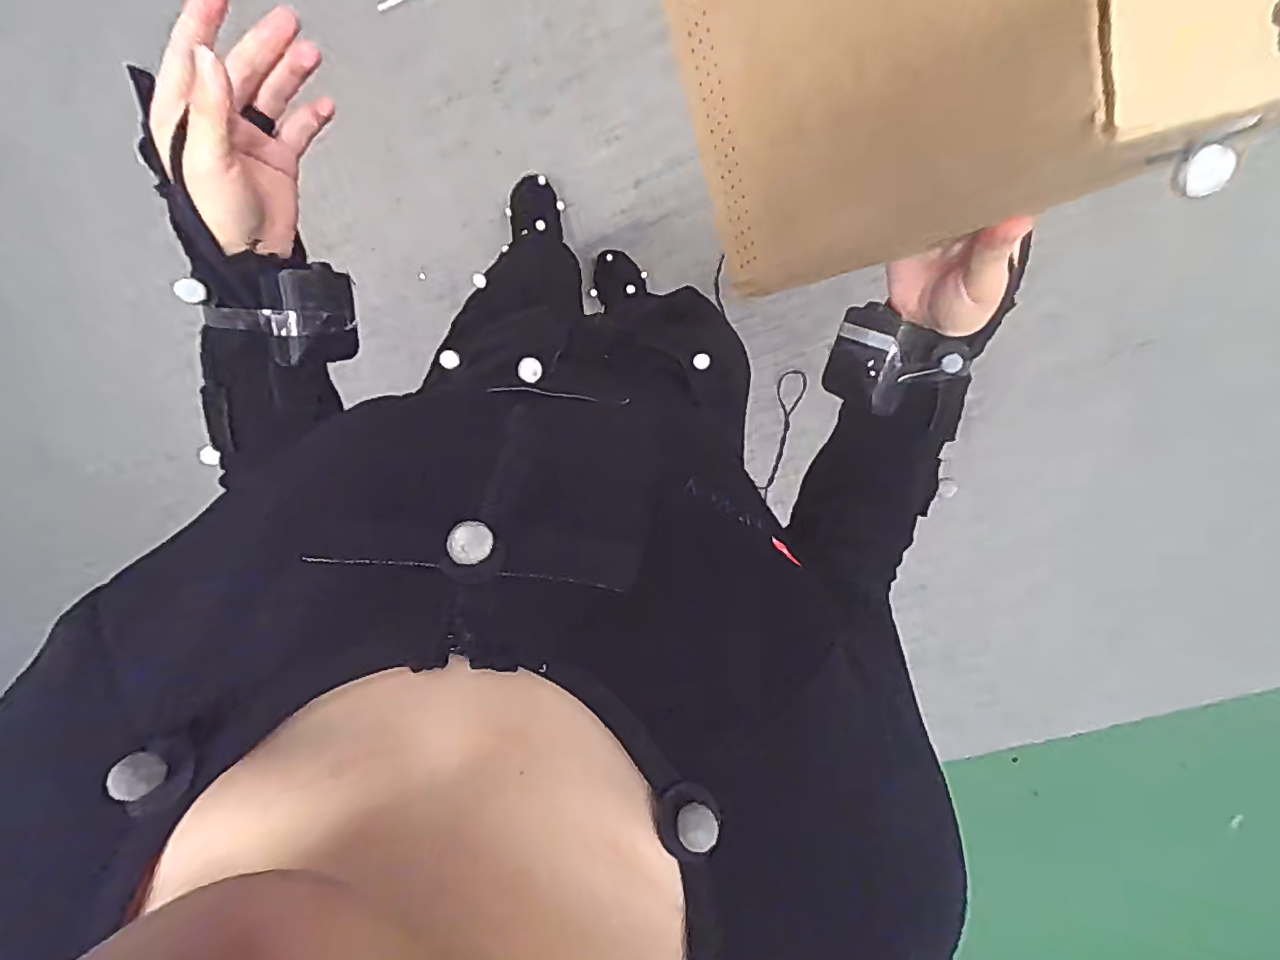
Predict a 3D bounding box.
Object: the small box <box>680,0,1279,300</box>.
[{"bbox_3d":[0.126,-0.185,0.197,0.168,0.176,0.179,-20,102,-13],"label":"small box"}]
